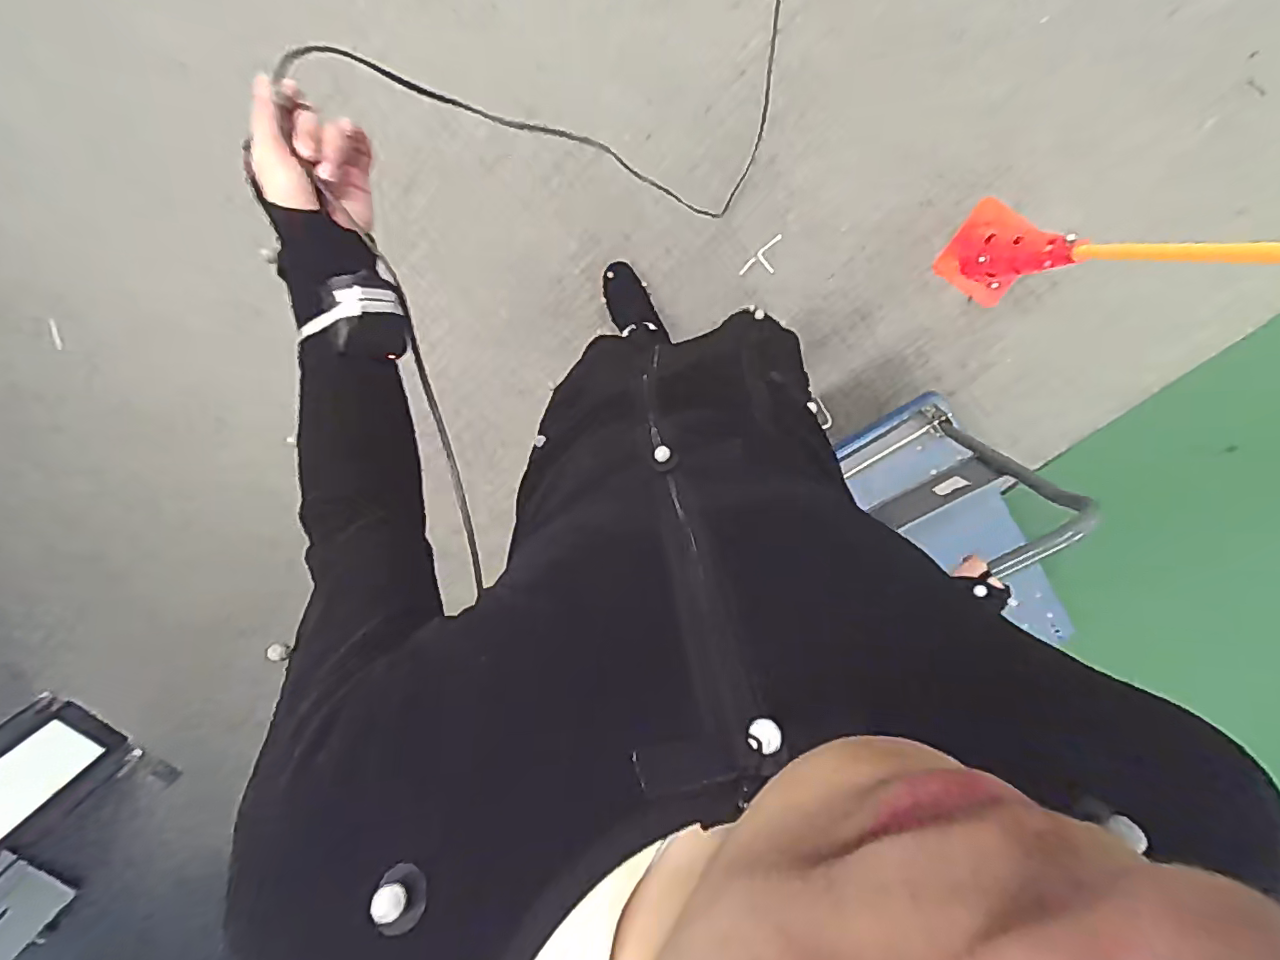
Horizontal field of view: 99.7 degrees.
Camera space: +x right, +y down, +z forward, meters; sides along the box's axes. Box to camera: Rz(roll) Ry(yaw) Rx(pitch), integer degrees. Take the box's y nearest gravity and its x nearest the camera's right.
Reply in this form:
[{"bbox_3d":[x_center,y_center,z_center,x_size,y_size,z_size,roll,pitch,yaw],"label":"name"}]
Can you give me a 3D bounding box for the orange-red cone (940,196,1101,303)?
[{"bbox_3d":[0.871,-0.508,1.191,0.198,0.360,0.199,31,110,-8],"label":"orange-red cone"}]
